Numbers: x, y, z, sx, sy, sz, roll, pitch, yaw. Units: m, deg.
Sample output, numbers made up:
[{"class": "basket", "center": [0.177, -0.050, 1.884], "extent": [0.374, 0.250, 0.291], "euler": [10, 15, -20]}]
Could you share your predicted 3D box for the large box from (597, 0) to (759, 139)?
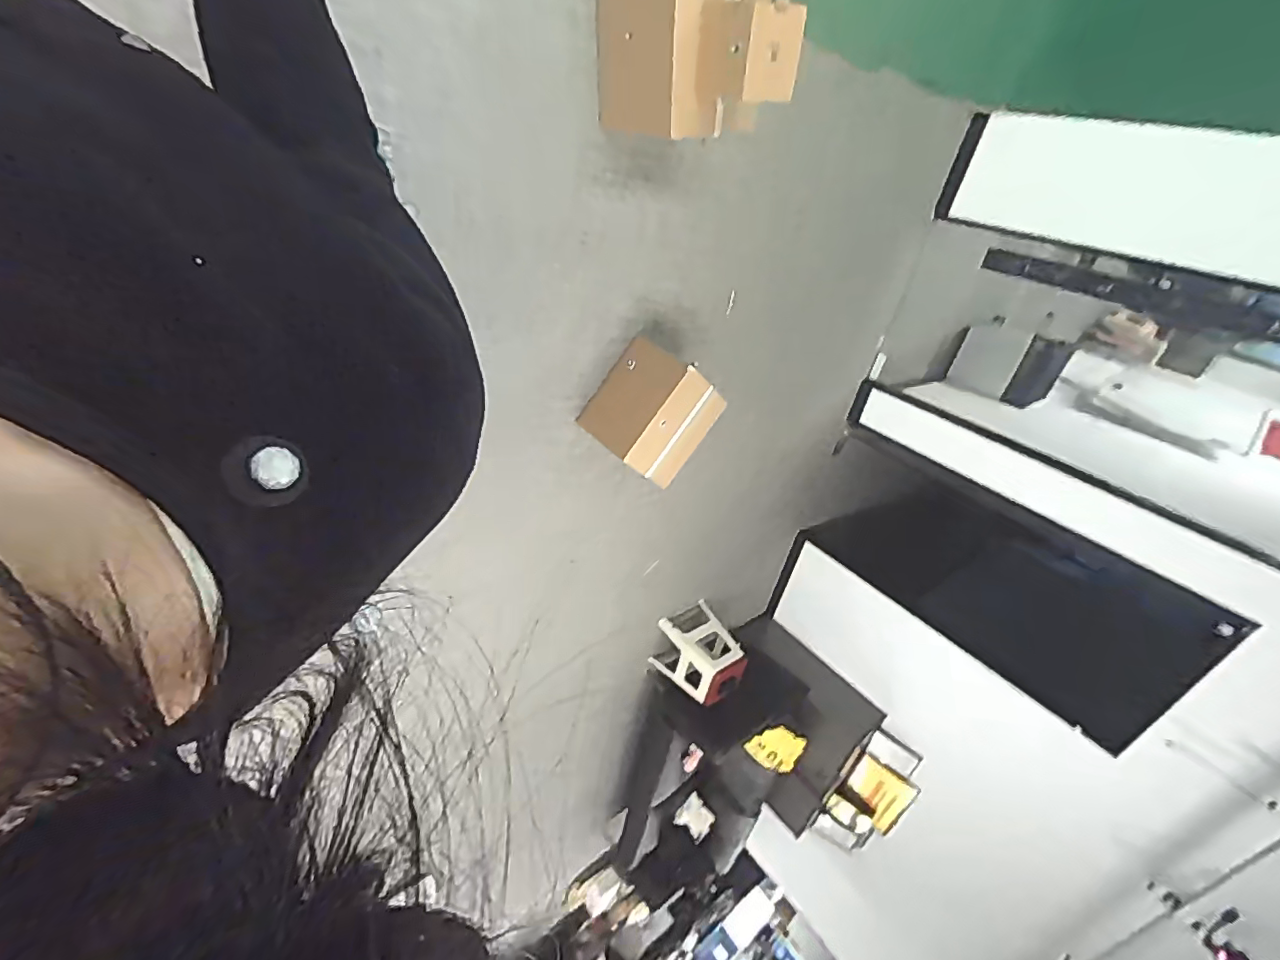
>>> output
[{"class": "large box", "center": [0.103, -1.128, 1.375], "extent": [0.320, 0.320, 0.408], "euler": [-27, 135, -29]}]

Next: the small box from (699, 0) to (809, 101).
[{"class": "small box", "center": [0.254, -0.983, 1.242], "extent": [0.168, 0.176, 0.179], "euler": [-22, 134, -29]}]
